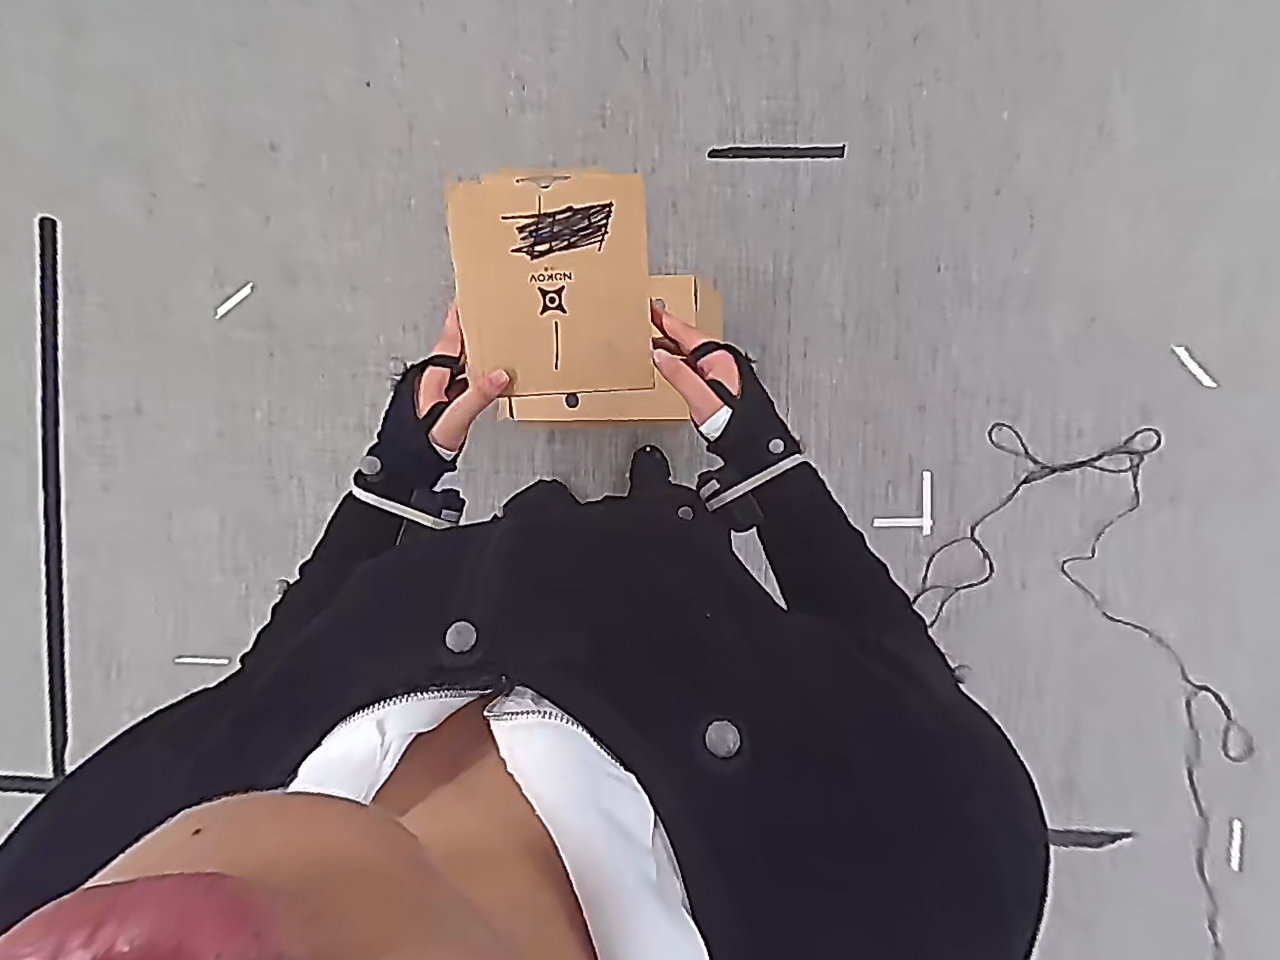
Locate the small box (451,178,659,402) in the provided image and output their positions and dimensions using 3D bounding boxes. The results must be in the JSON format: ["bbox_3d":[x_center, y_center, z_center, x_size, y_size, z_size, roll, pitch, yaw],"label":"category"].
[{"bbox_3d":[-0.070,-0.171,0.531,0.168,0.176,0.179,-3,102,1],"label":"small box"}]
